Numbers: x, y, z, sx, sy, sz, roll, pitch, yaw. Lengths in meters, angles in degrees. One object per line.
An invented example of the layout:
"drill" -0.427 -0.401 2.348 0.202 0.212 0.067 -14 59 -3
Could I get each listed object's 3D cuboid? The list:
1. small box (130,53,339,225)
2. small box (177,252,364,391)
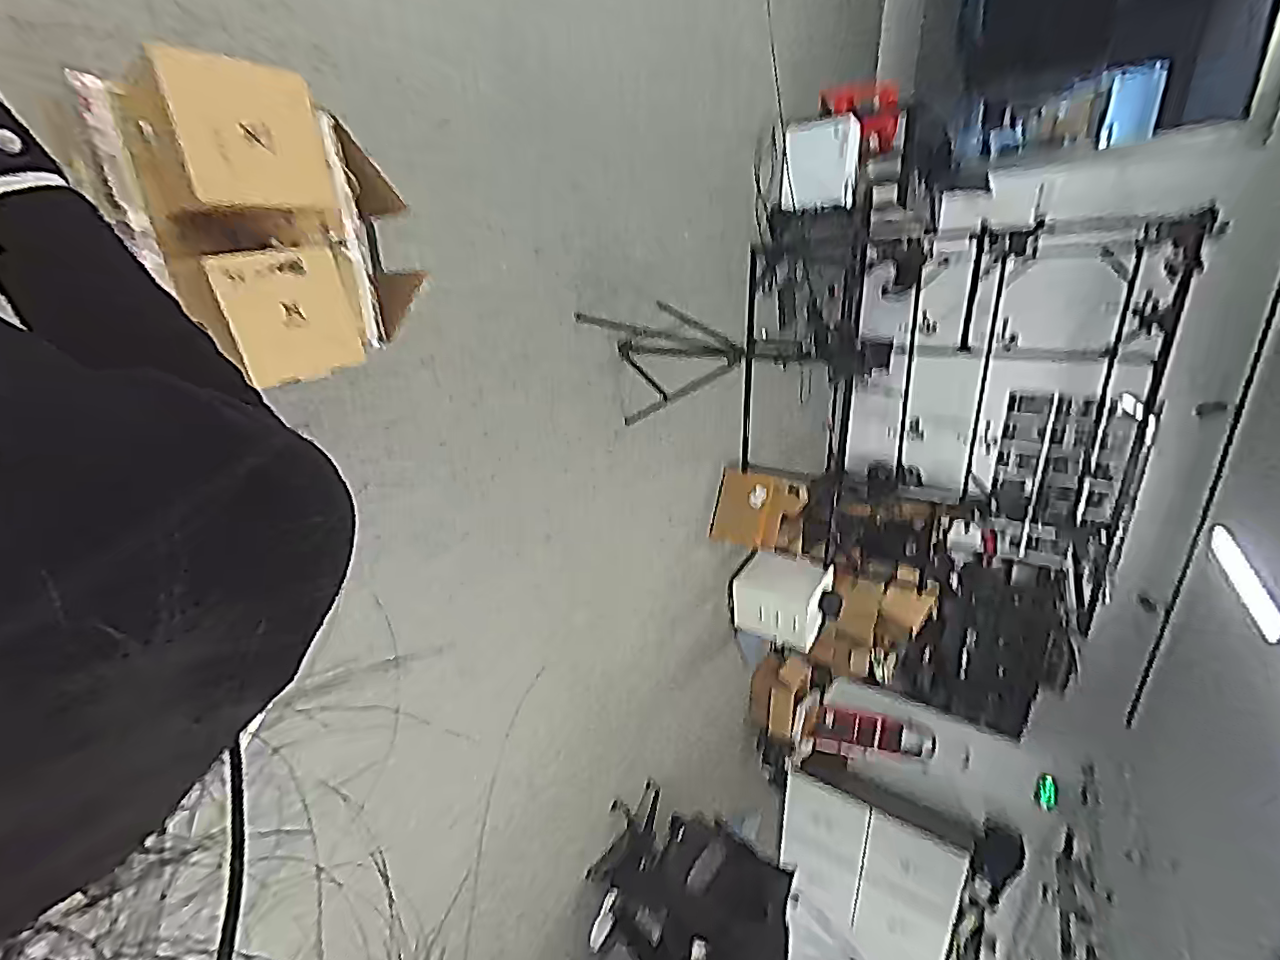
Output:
"small box" -0.570 -0.464 0.768 0.179 0.176 0.168 -27 119 -44
"small box" -0.568 -0.252 0.838 0.168 0.176 0.179 -32 126 -43
